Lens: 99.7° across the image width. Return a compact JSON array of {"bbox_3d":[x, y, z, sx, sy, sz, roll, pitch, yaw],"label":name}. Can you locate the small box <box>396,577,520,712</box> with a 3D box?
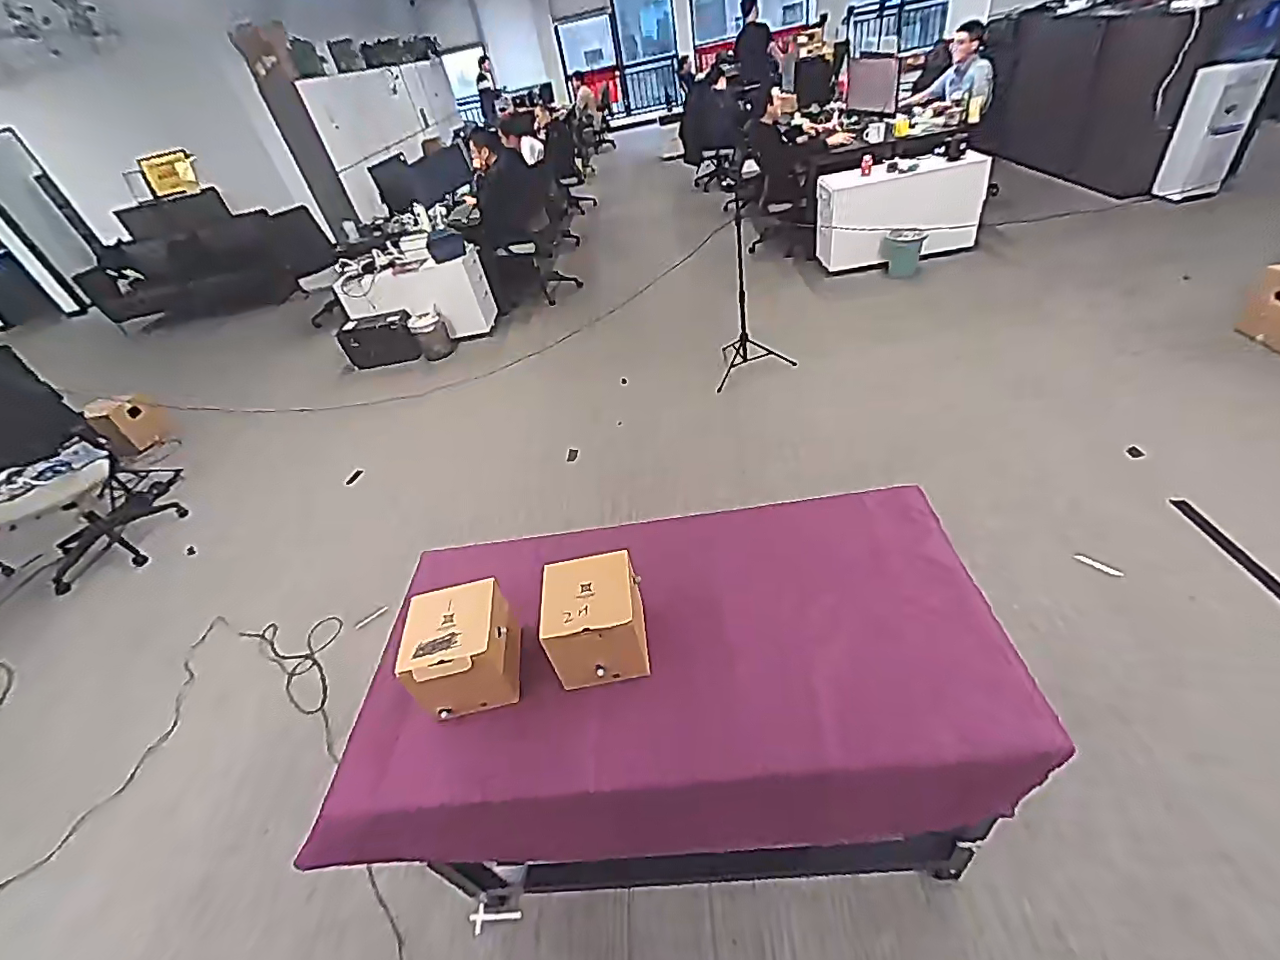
[{"bbox_3d":[-0.335,0.320,1.034,0.168,0.176,0.179,-13,38,0],"label":"small box"}]

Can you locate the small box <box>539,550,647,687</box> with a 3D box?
[{"bbox_3d":[-0.085,0.264,1.032,0.168,0.176,0.179,-11,39,3],"label":"small box"}]
